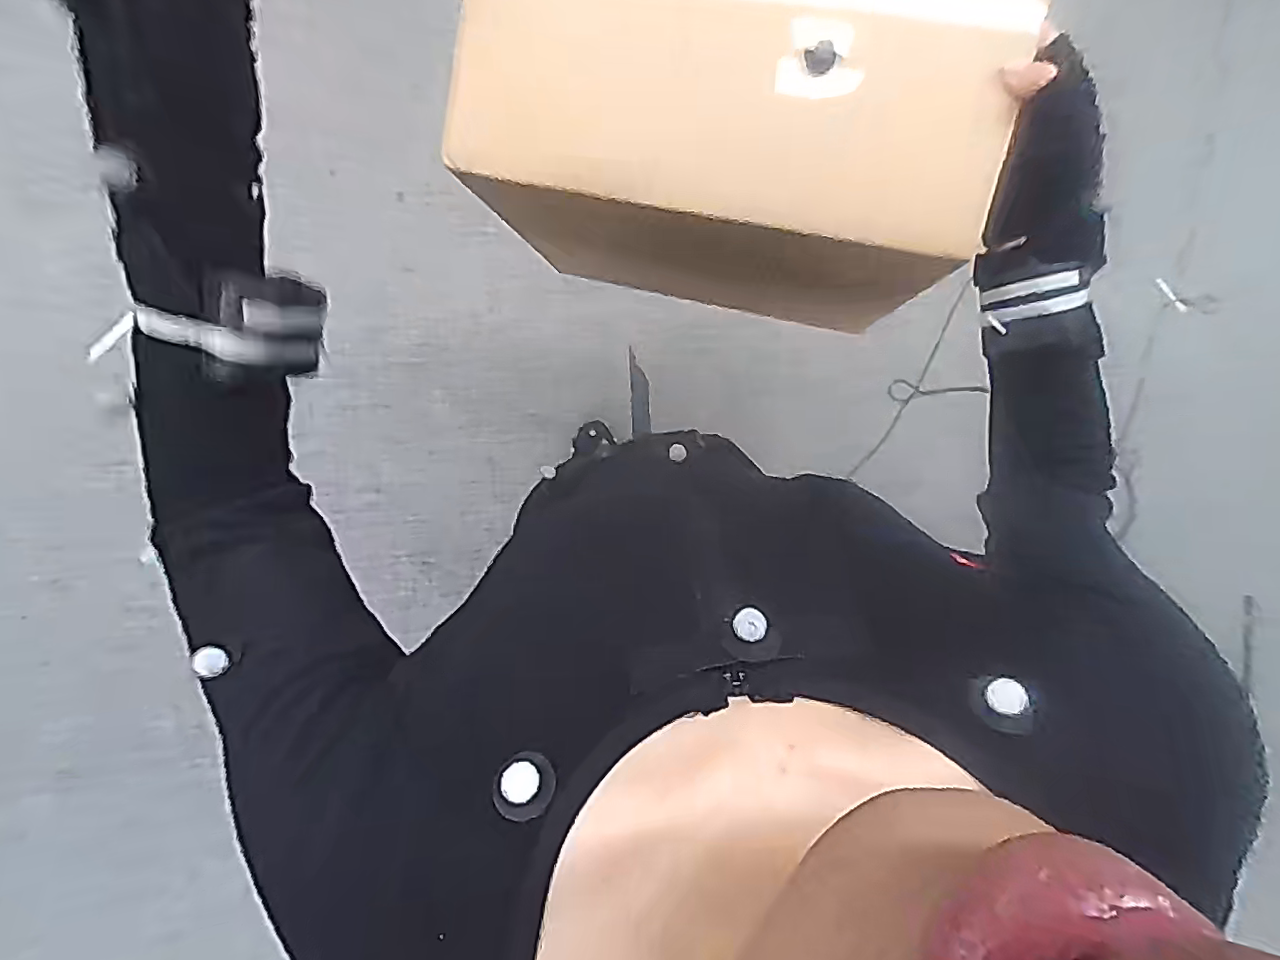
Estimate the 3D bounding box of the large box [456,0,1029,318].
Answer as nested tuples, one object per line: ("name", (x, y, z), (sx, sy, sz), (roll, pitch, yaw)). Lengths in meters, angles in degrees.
("large box", (0.090, -0.377, 0.540), (0.408, 0.320, 0.320), (13, 98, 6))
